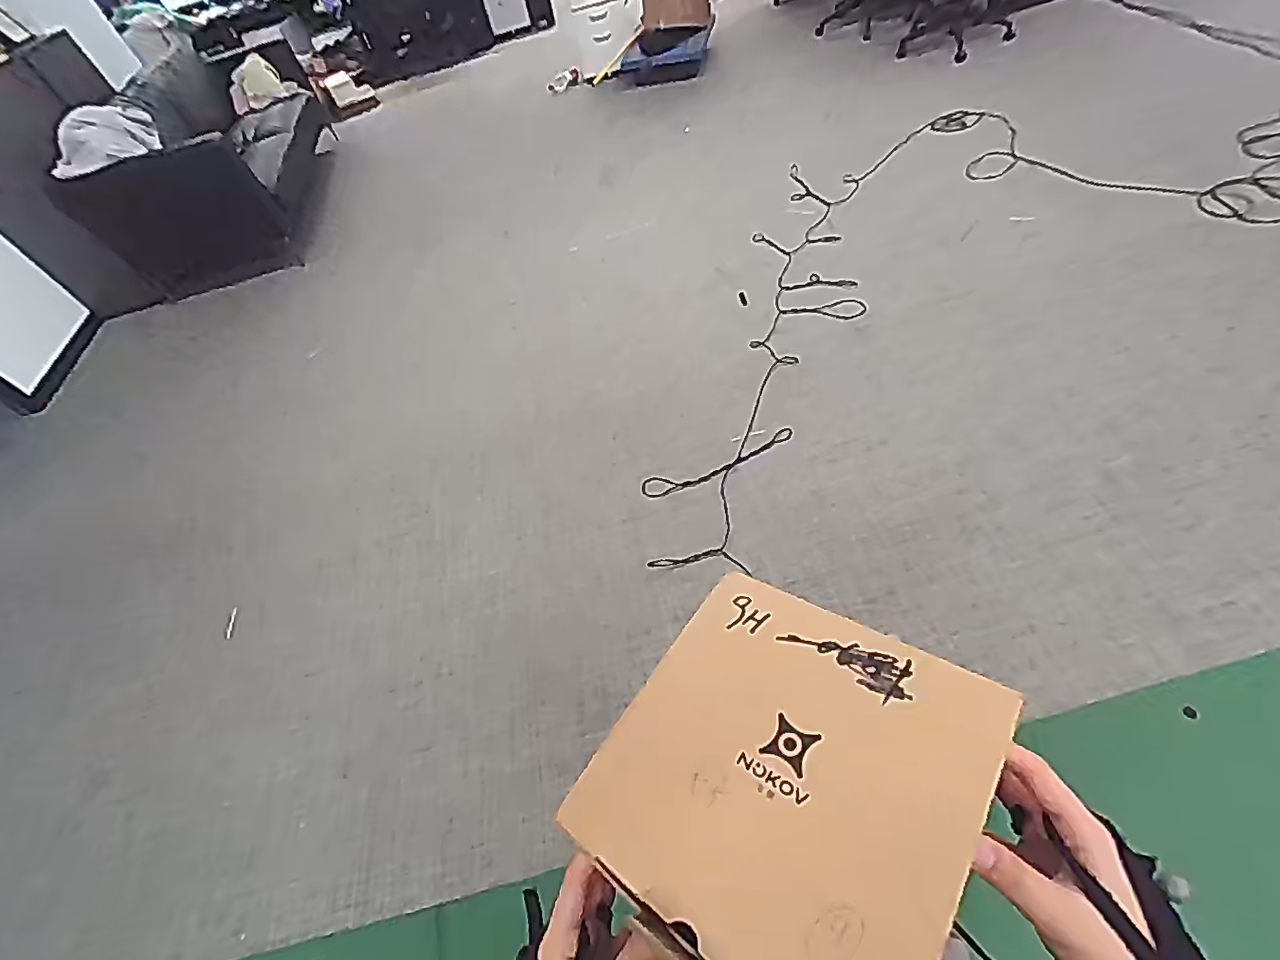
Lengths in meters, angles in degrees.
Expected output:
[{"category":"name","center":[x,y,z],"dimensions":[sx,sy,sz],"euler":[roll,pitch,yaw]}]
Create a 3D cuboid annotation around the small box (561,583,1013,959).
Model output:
[{"category":"small box","center":[0.091,0.201,0.321],"dimensions":[0.168,0.176,0.179],"euler":[19,55,37]}]
